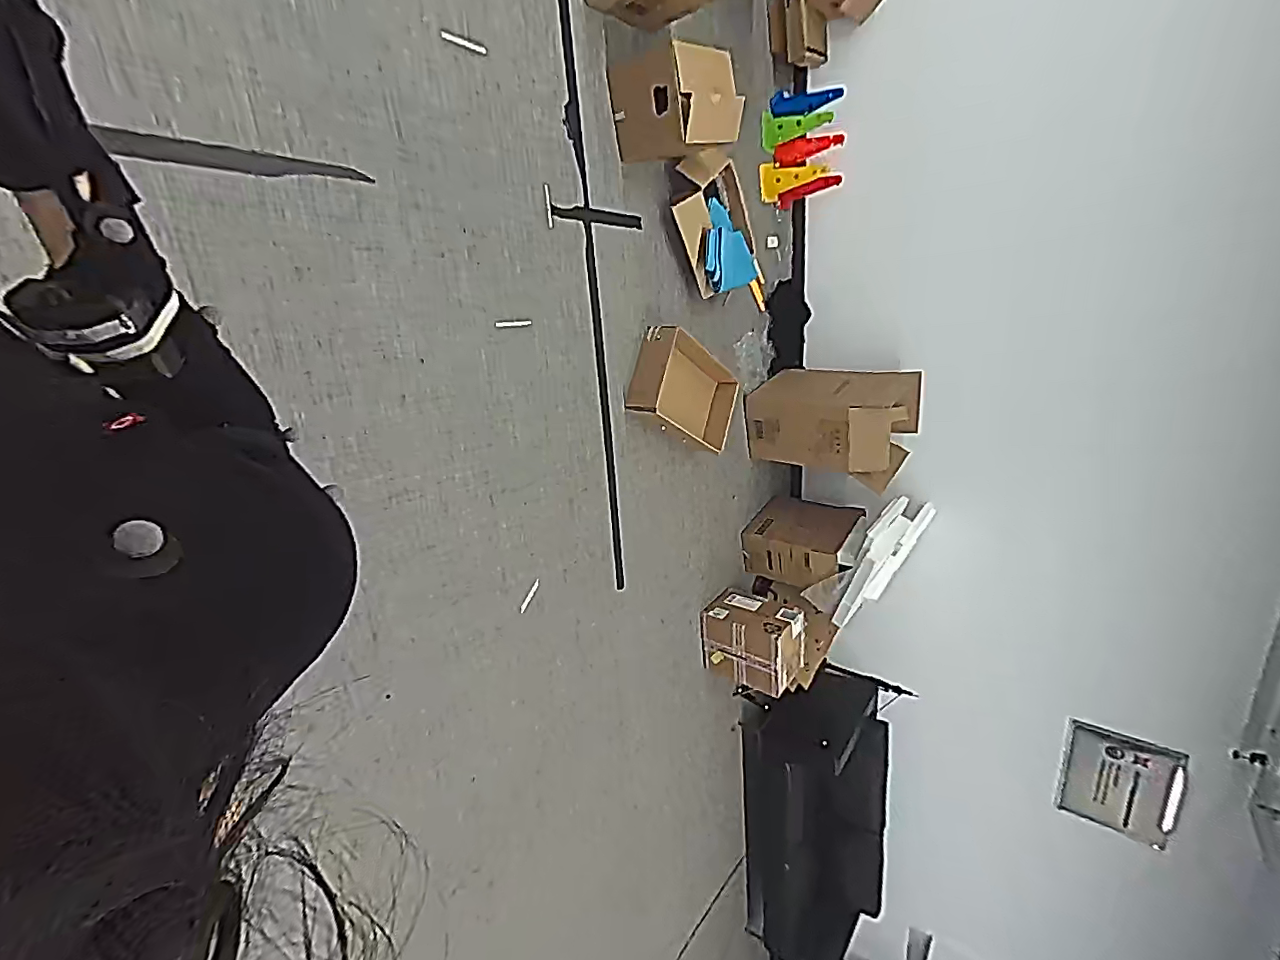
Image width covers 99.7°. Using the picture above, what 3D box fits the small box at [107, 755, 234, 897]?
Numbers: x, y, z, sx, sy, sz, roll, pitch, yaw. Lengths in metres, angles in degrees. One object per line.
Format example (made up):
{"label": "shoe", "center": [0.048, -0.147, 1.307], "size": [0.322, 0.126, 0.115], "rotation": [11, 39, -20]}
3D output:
{"label": "small box", "center": [-1.056, 0.766, 1.219], "size": [0.168, 0.176, 0.179], "rotation": [-21, 112, -51]}
